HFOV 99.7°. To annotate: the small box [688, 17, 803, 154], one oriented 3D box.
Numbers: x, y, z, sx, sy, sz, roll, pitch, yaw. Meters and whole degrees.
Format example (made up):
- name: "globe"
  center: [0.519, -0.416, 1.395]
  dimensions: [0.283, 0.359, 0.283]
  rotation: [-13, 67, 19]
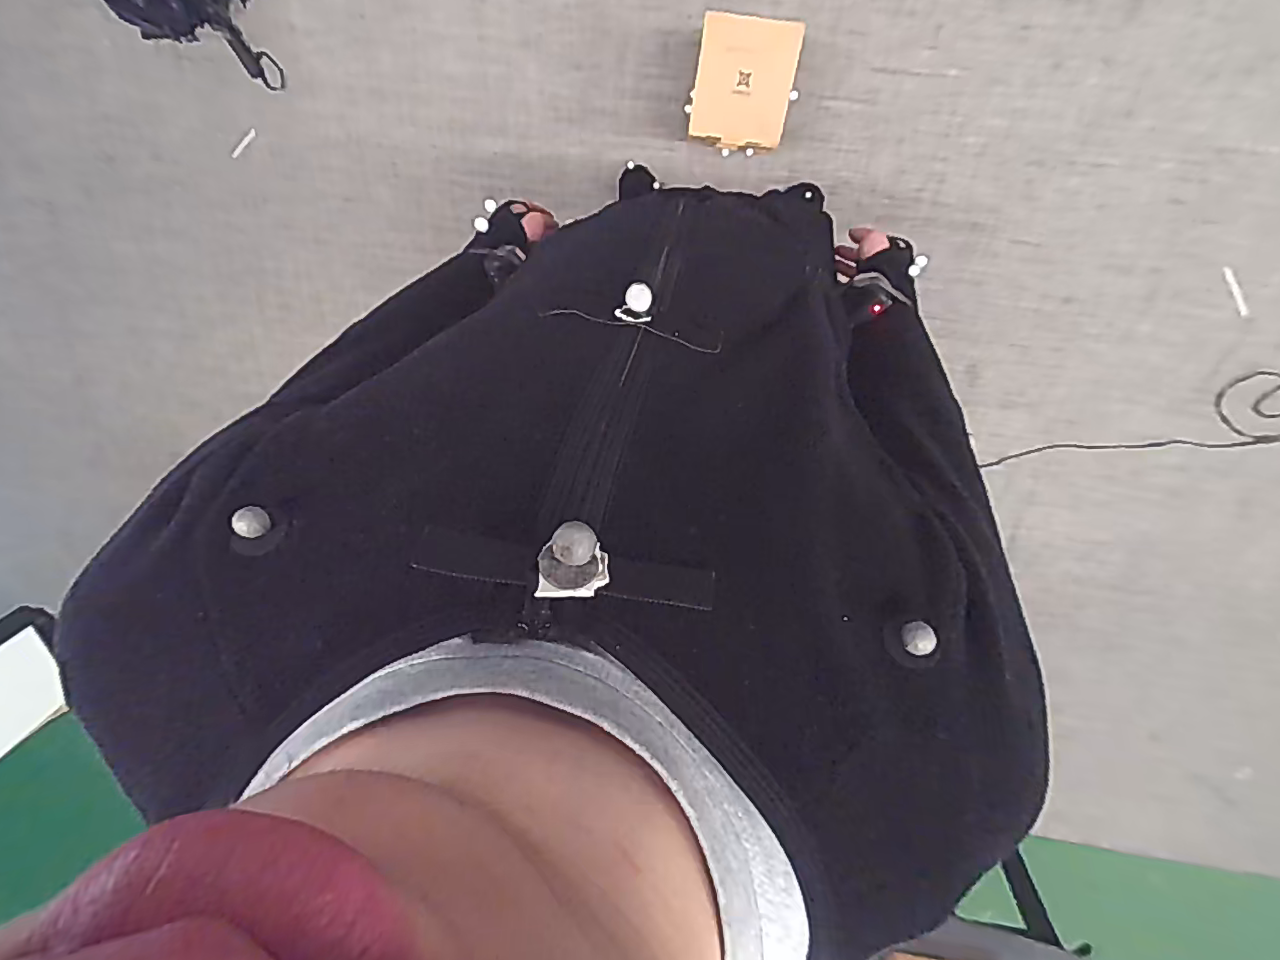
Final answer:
- name: "small box"
  center: [0.187, -0.713, 0.997]
  dimensions: [0.168, 0.176, 0.179]
  rotation: [9, 120, 2]
